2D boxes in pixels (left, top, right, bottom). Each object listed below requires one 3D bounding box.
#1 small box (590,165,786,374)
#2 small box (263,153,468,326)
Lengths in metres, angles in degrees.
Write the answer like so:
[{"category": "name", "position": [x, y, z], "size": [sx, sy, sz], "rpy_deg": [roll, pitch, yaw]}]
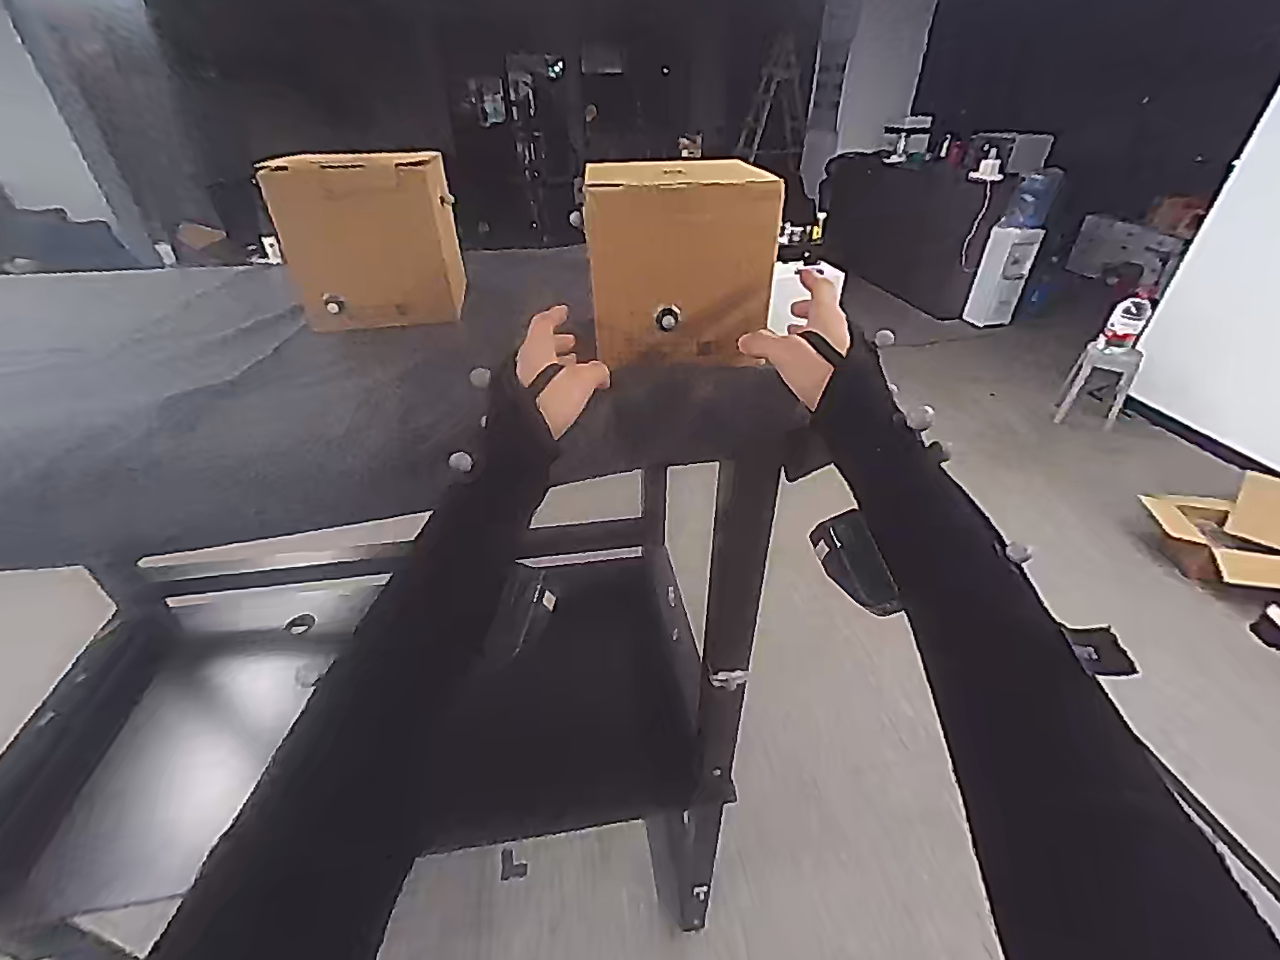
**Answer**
[{"category": "small box", "position": [0.035, -0.219, 0.555], "size": [0.168, 0.176, 0.179], "rpy_deg": [-3, 35, -3]}, {"category": "small box", "position": [-0.314, -0.295, 0.665], "size": [0.168, 0.176, 0.179], "rpy_deg": [-7, 35, -9]}]
